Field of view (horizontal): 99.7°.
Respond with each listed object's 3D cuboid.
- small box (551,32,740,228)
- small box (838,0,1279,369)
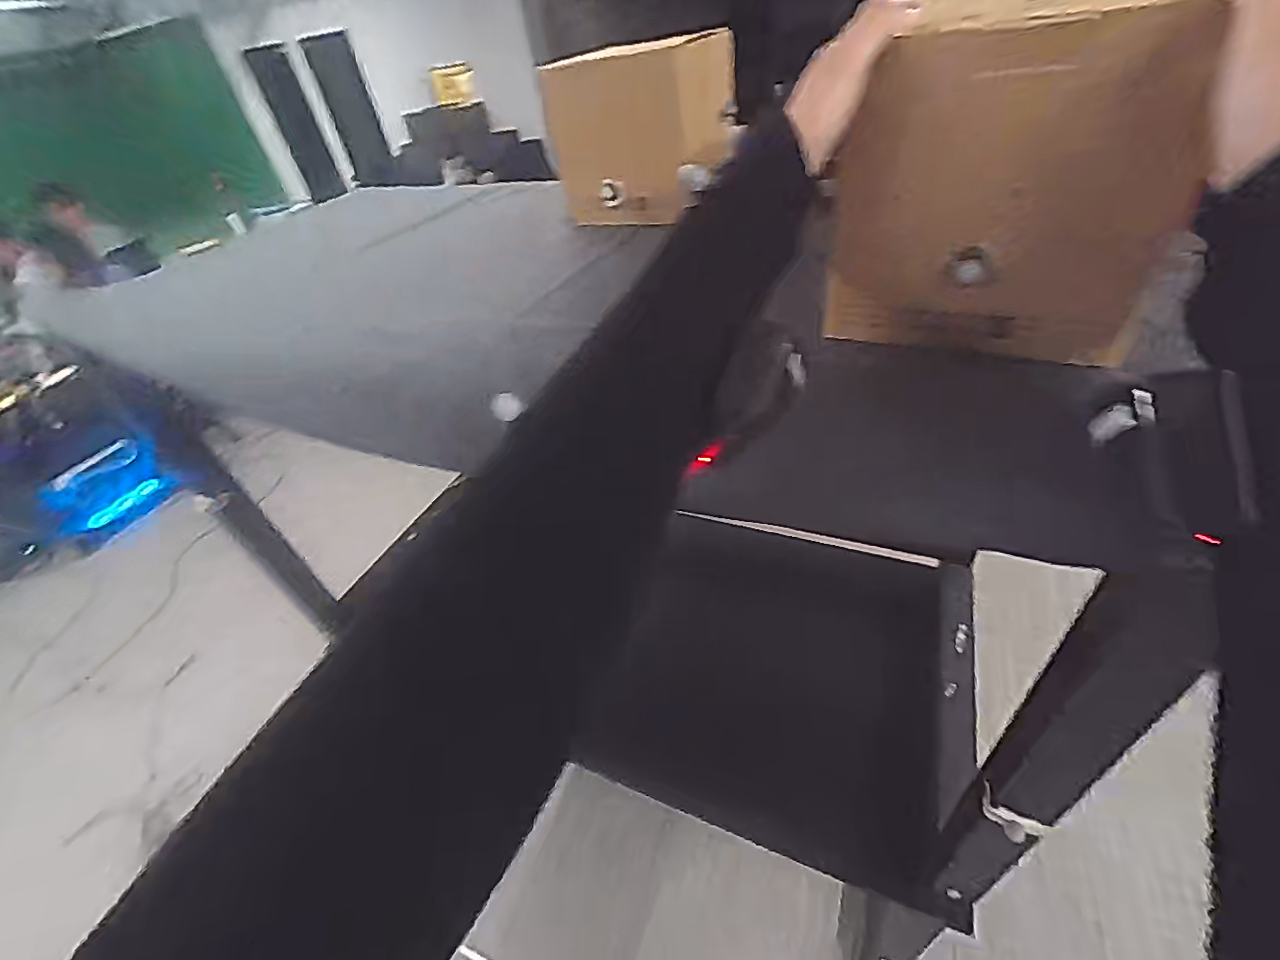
[{"bbox_3d":[0.019,-0.424,0.661,0.168,0.176,0.179,11,45,24],"label":"small box"},{"bbox_3d":[0.236,-0.195,0.348,0.168,0.176,0.179,16,48,28],"label":"small box"}]
